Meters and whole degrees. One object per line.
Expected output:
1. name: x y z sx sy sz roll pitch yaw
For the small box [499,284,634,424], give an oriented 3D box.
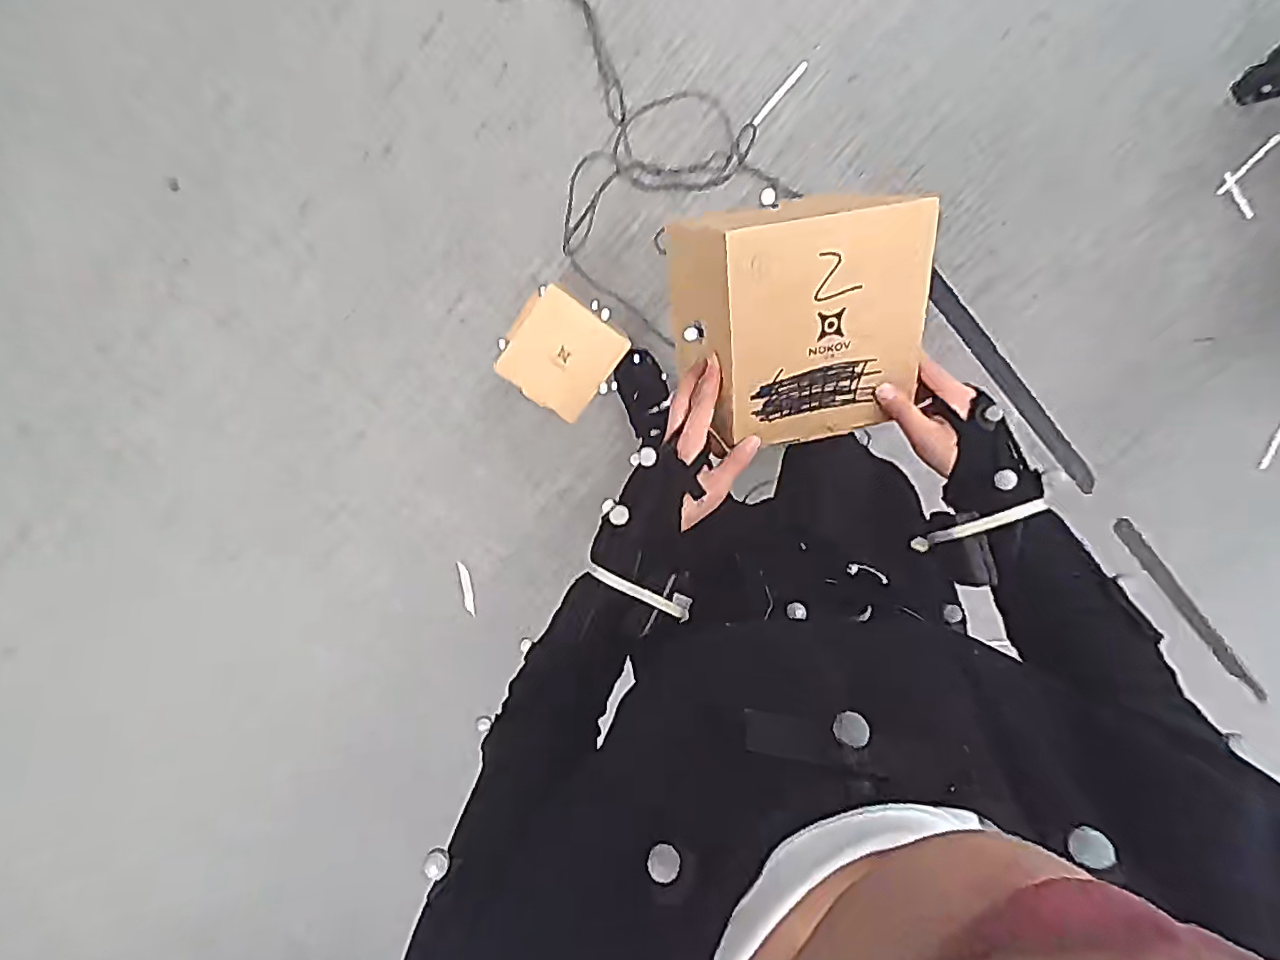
1. small box: -0.131 -0.236 0.981 0.168 0.176 0.179 34 106 -16
